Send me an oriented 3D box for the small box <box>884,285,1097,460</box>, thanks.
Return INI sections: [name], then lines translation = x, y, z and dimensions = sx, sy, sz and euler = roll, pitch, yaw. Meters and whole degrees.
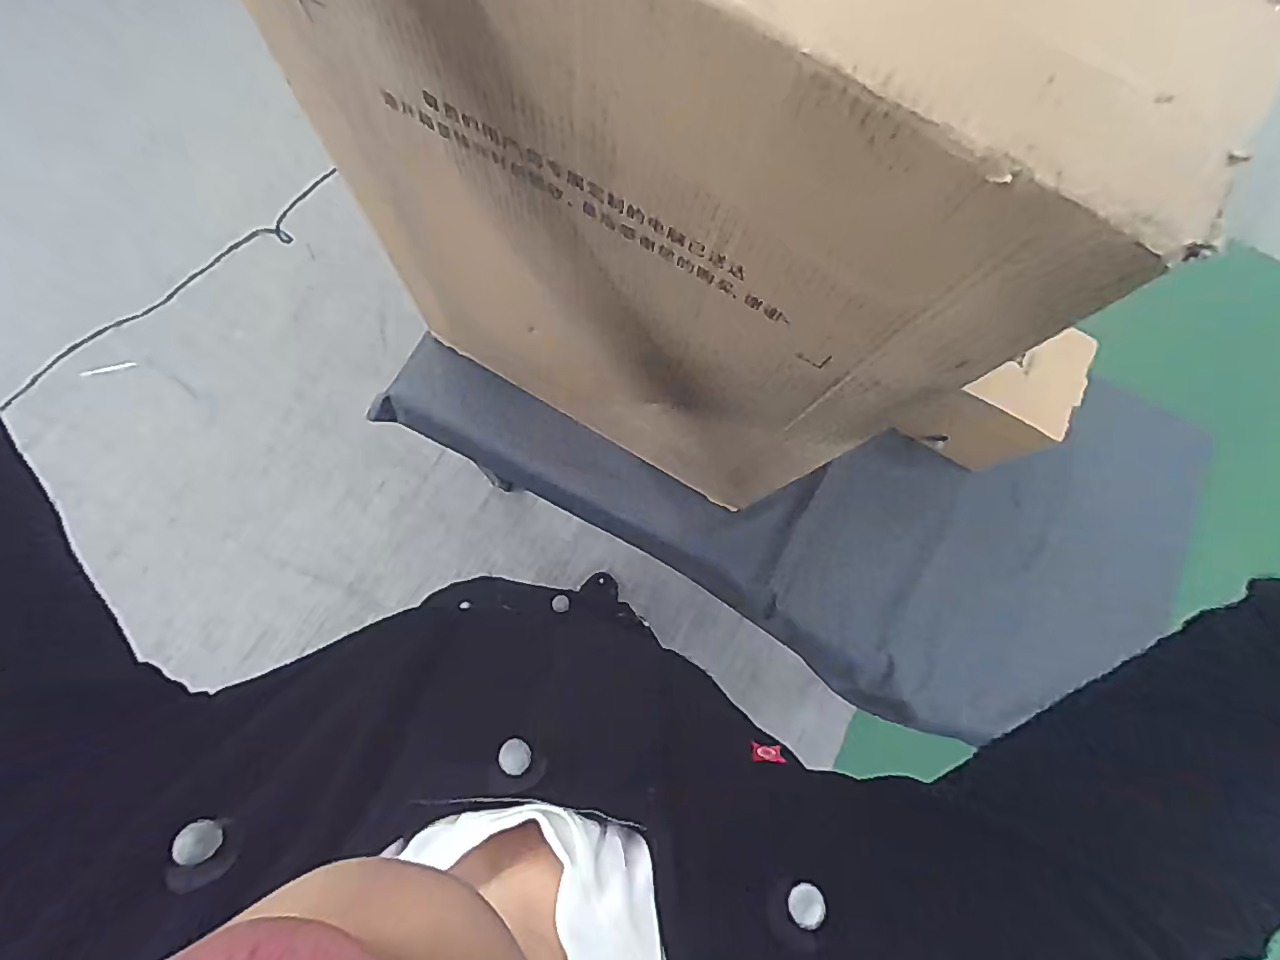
[small box]
translation = 0.506, -0.144, 0.802
dimensions = 0.179, 0.176, 0.168
euler = 29, 77, 0
